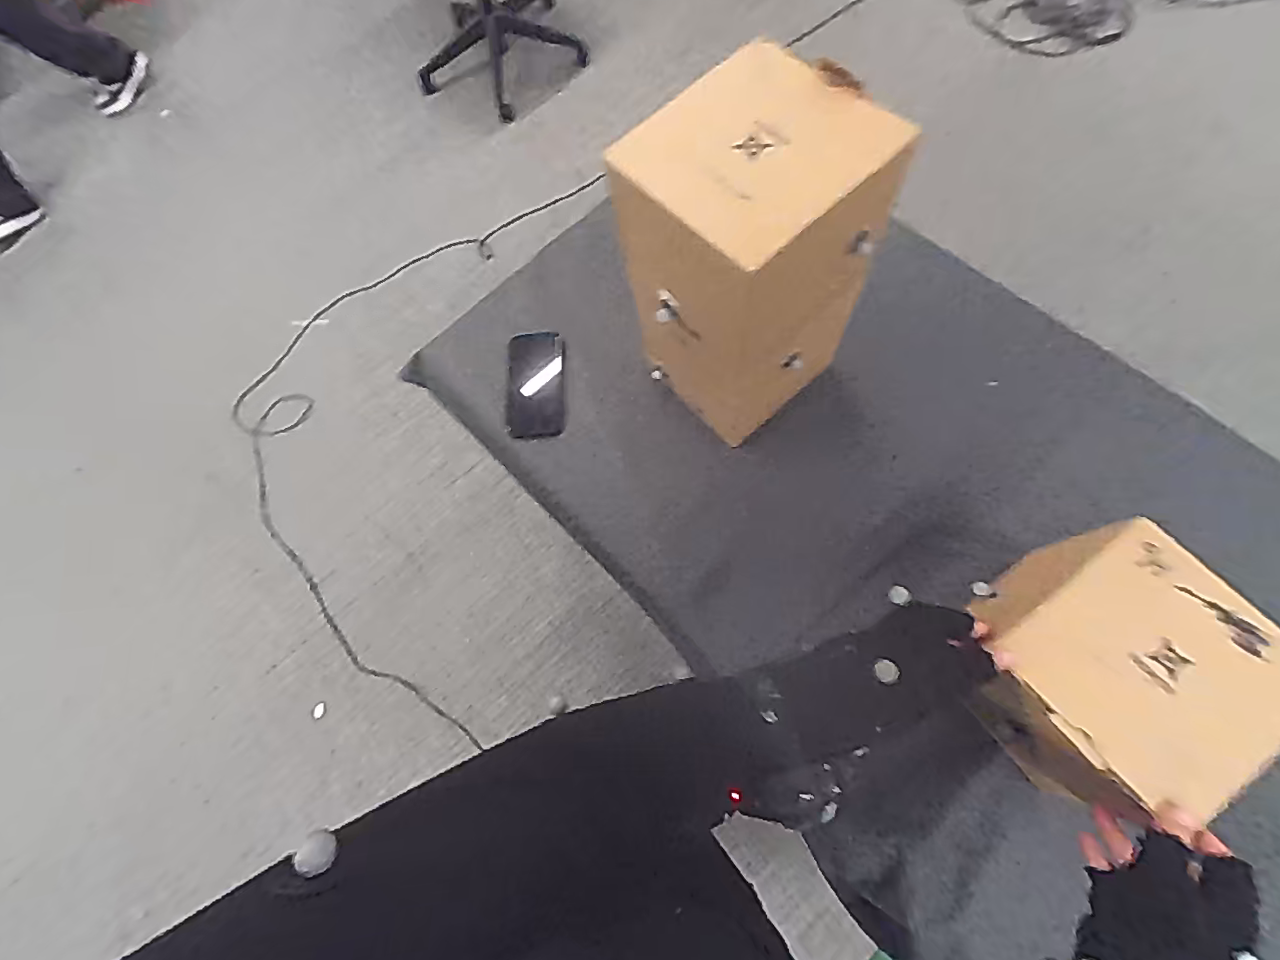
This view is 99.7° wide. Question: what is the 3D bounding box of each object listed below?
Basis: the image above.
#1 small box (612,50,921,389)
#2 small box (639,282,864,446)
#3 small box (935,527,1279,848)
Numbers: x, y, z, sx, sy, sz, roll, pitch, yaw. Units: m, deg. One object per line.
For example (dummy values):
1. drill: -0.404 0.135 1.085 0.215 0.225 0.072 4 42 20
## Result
1. small box: 0.101 -0.219 0.485 0.179 0.176 0.168 -41 70 -7
2. small box: 0.124 -0.170 0.638 0.179 0.176 0.168 -40 71 -8
3. small box: 0.399 0.173 0.481 0.179 0.176 0.168 -37 70 -6
